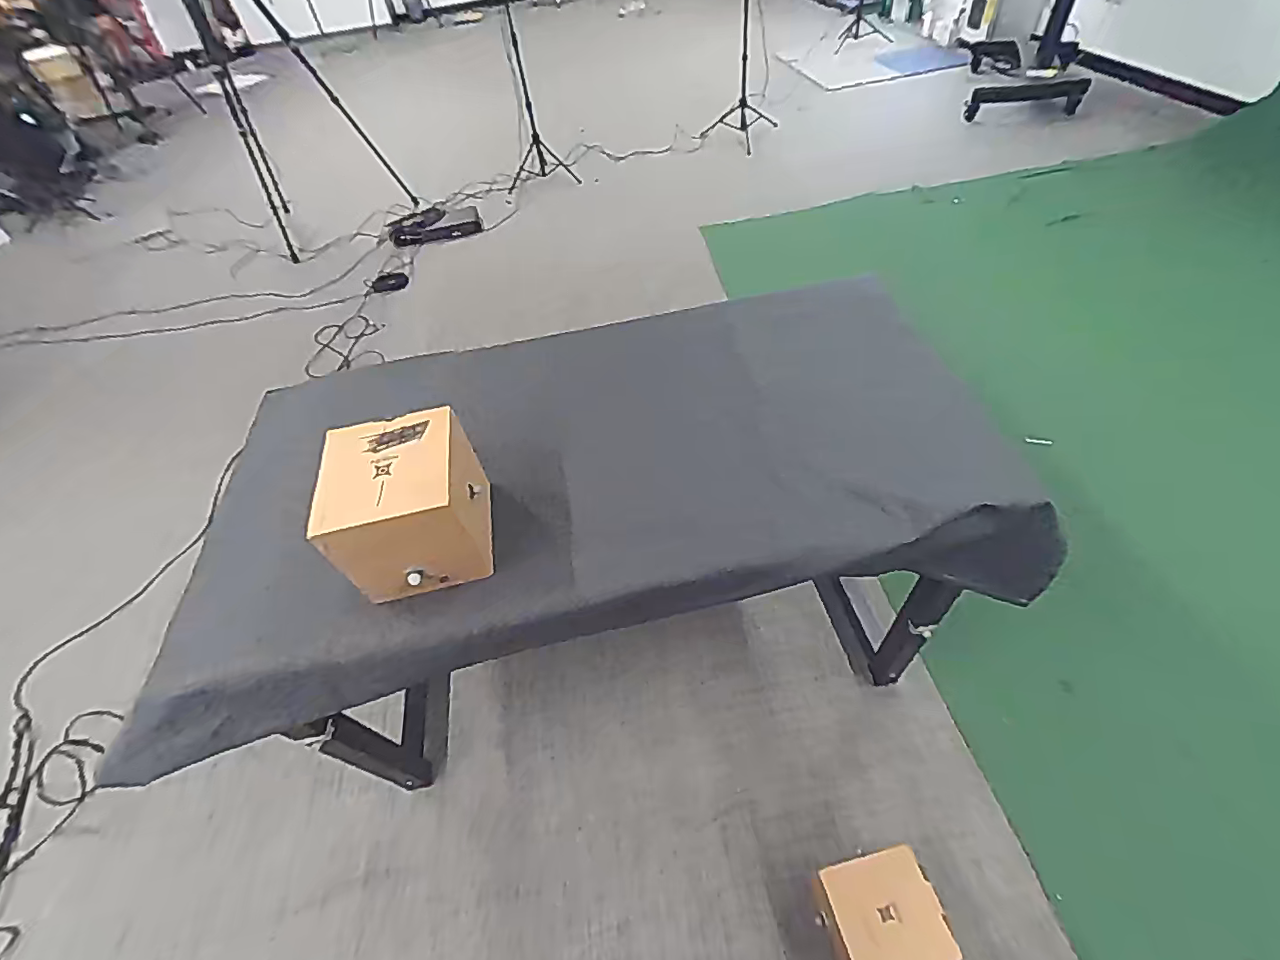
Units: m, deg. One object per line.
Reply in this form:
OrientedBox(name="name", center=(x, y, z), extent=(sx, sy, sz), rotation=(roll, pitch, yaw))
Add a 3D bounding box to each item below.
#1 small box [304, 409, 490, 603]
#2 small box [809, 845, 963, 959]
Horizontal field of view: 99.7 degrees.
OrientedBox(name="small box", center=(-0.307, 0.036, 0.724), extent=(0.168, 0.176, 0.179), rotation=(-13, 51, -3))
OrientedBox(name="small box", center=(0.423, 0.775, 0.964), extent=(0.179, 0.176, 0.168), rotation=(-14, 50, -3))
